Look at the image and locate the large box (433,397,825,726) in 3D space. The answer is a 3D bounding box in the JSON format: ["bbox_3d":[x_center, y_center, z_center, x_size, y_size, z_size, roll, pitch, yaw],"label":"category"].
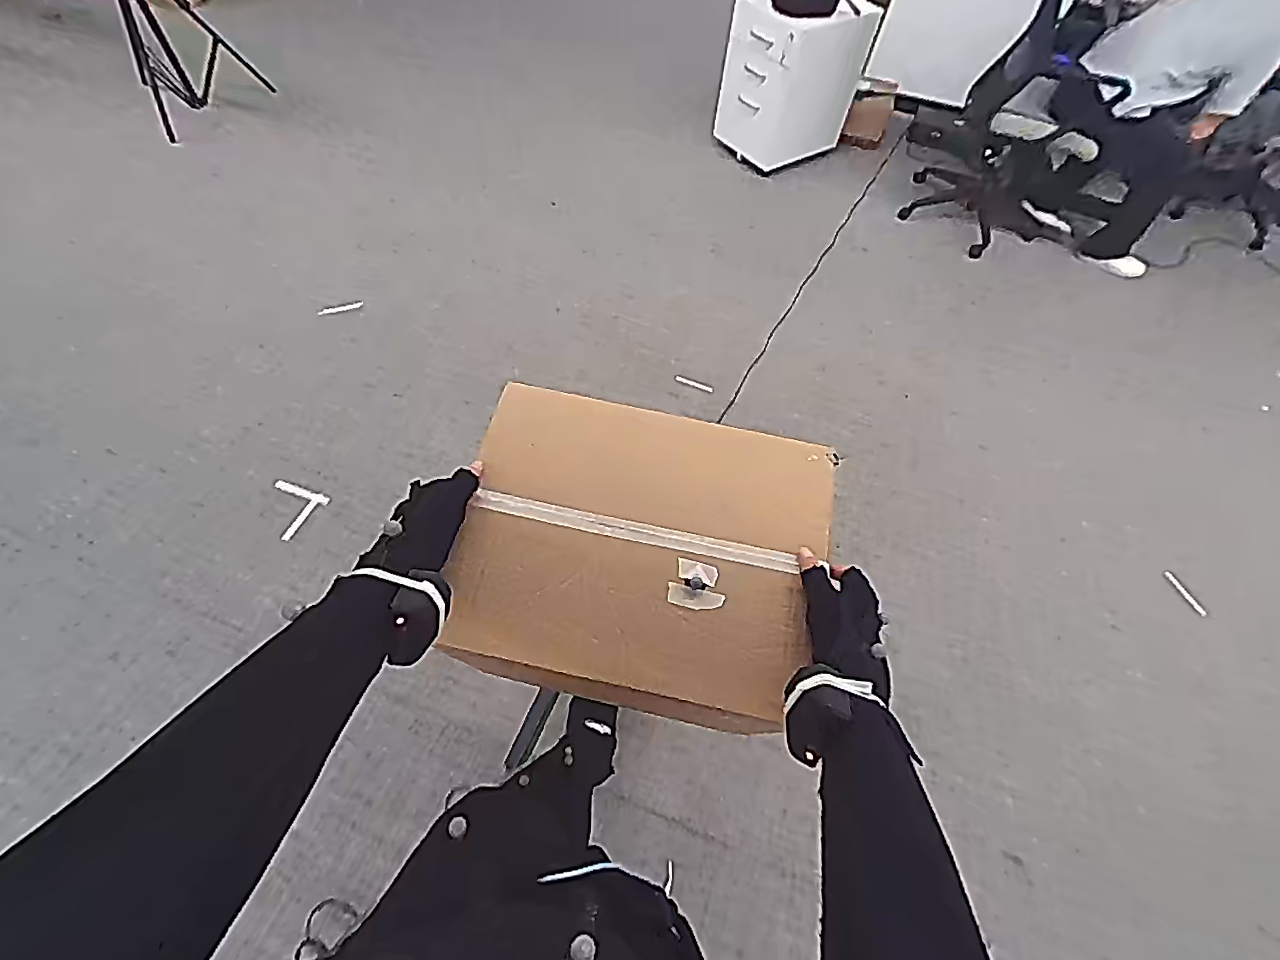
[{"bbox_3d":[-0.003,0.130,0.745,0.408,0.320,0.320,12,65,2],"label":"large box"}]
